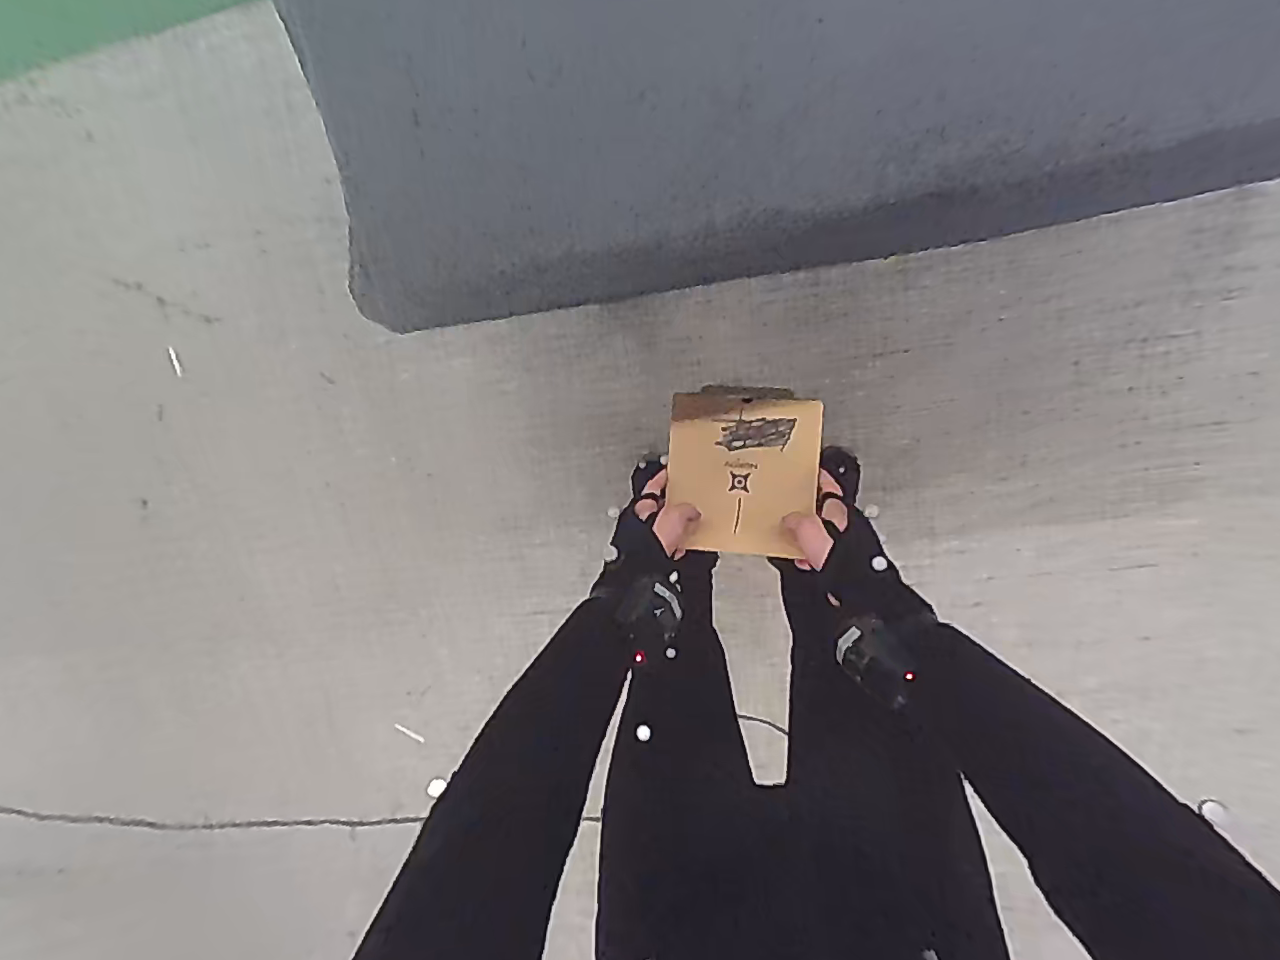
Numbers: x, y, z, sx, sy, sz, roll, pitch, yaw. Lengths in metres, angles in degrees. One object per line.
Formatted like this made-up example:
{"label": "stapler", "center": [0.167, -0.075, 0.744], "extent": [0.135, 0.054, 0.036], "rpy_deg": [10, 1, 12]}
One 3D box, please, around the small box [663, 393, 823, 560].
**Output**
{"label": "small box", "center": [0.122, -0.003, 0.667], "extent": [0.168, 0.176, 0.179], "rpy_deg": [3, 89, 9]}
